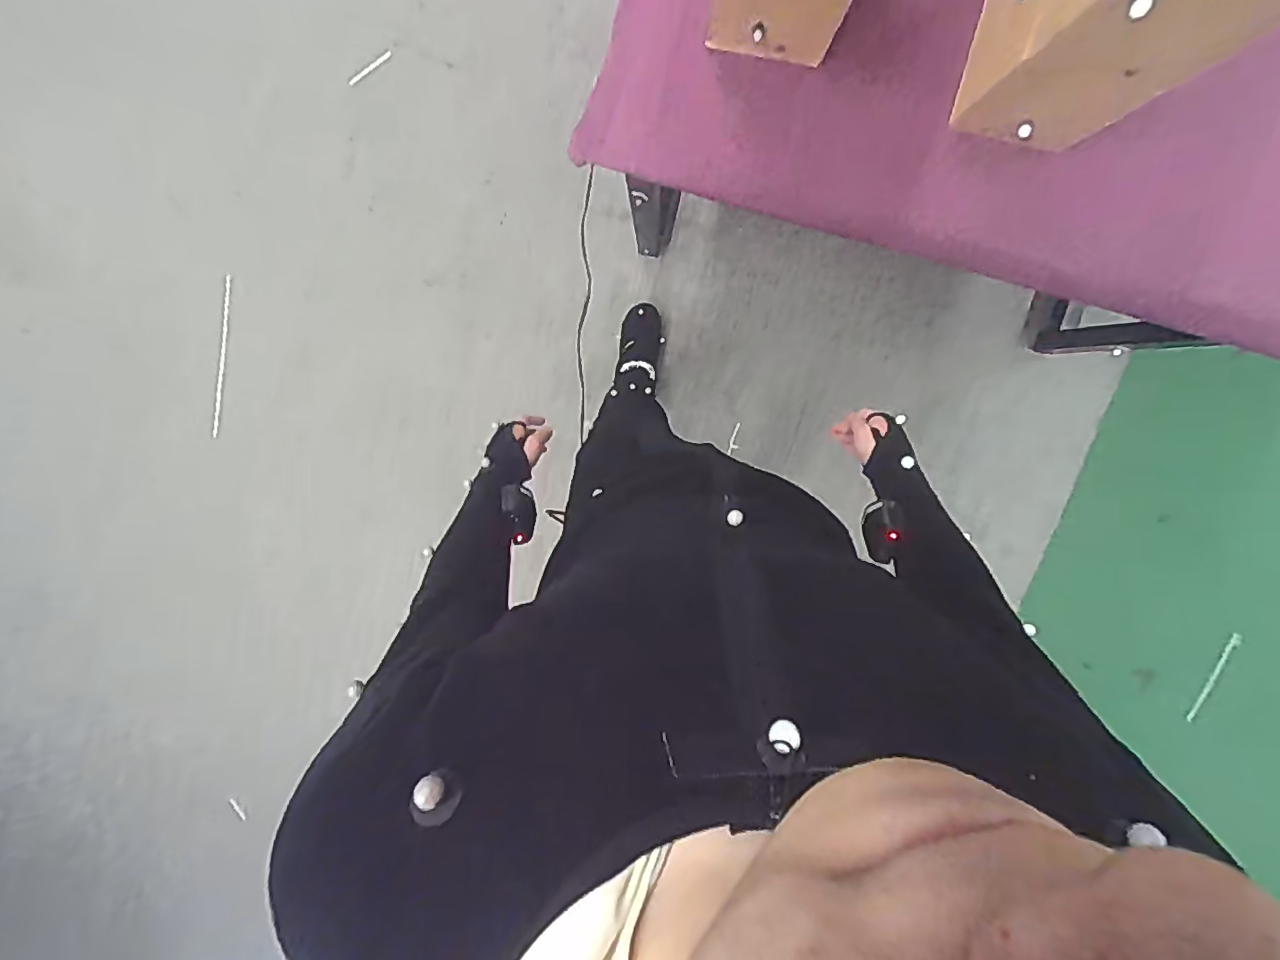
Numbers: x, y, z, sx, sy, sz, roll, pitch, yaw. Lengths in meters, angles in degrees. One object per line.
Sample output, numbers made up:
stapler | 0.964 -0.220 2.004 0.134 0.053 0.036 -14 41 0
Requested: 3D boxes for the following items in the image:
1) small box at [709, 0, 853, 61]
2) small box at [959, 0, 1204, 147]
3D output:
small box | 0.183 -0.662 0.654 0.168 0.176 0.179 10 102 0
small box | 0.529 -0.548 0.659 0.168 0.176 0.179 13 101 1
